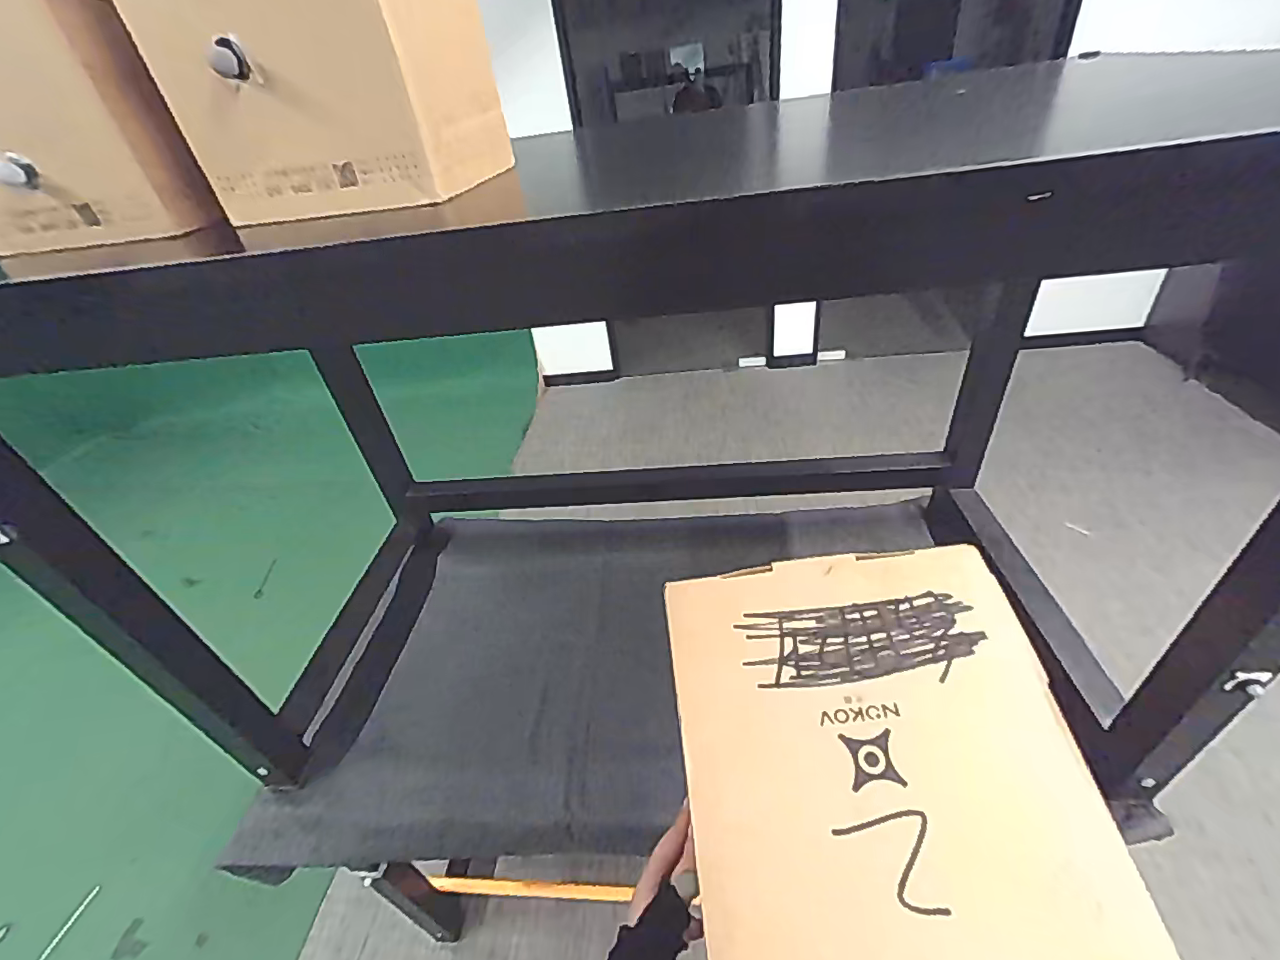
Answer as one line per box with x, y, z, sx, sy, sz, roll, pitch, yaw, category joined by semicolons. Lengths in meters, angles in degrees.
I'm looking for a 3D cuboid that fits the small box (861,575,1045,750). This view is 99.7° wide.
0.420;0.255;0.762;0.168;0.176;0.179;-1;36;10;small box

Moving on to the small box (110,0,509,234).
-0.214;-0.292;0.405;0.168;0.176;0.179;-2;36;9;small box

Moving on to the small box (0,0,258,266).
-0.410;-0.280;0.426;0.168;0.176;0.179;-2;38;9;small box
